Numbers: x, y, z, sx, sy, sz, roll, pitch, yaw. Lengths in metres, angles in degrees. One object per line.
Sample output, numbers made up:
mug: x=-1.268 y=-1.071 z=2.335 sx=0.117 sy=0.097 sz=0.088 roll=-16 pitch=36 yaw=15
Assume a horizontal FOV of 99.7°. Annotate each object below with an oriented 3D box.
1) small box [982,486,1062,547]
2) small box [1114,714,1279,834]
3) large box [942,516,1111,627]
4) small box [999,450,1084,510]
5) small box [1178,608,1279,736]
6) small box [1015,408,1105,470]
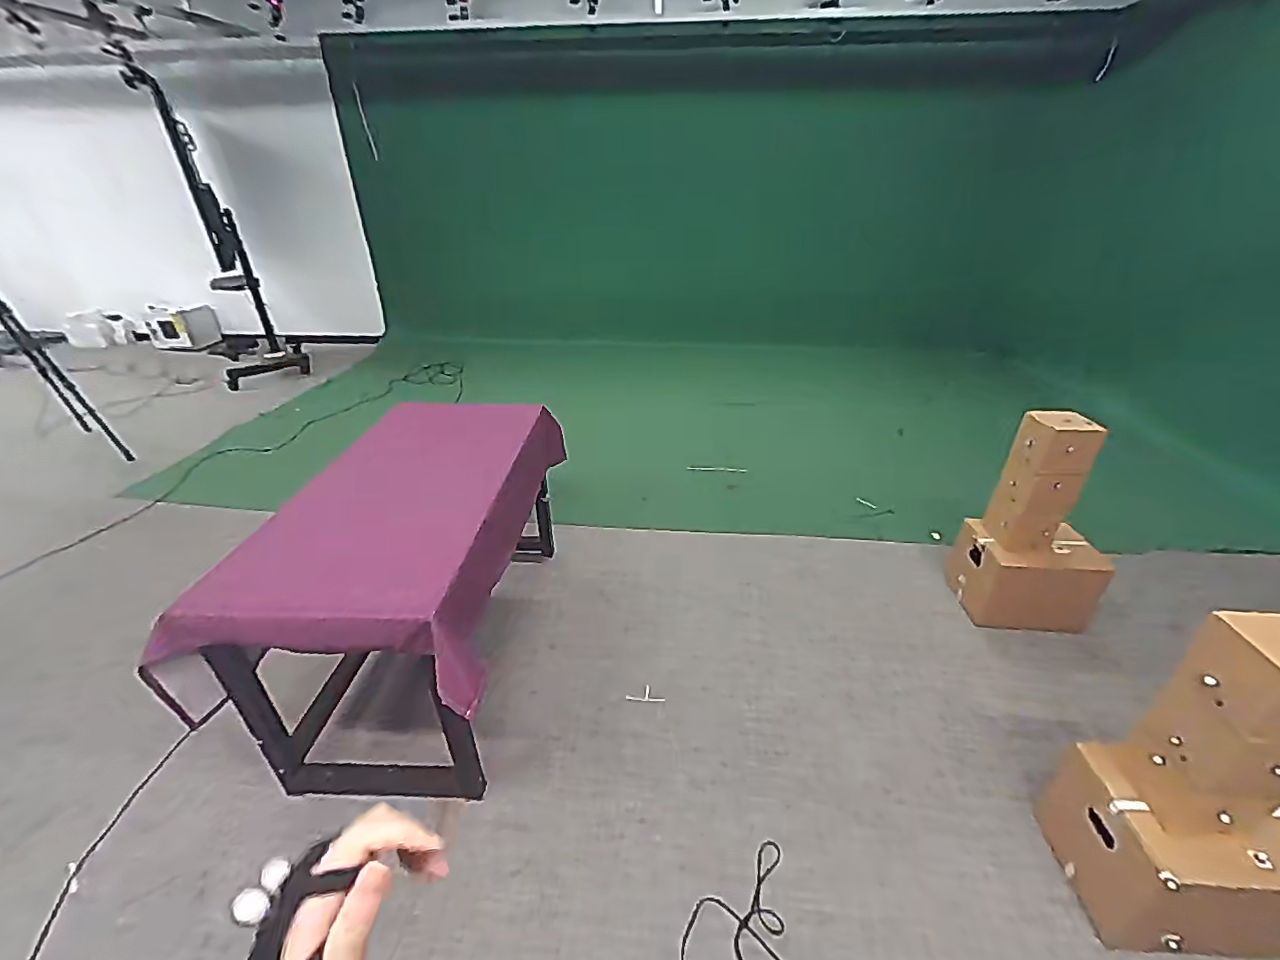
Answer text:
small box: x=1.443 y=0.140 z=2.054 sx=0.168 sy=0.176 sz=0.179 roll=2 pitch=29 yaw=2
small box: x=1.217 y=0.648 z=1.193 sx=0.168 sy=0.176 sz=0.179 roll=1 pitch=29 yaw=2
large box: x=1.511 y=0.362 z=2.158 sx=0.408 sy=0.320 sz=0.320 roll=3 pitch=31 yaw=3
small box: x=1.450 y=-0.001 z=1.971 sx=0.179 sy=0.176 sz=0.168 roll=0 pitch=31 yaw=-1
small box: x=1.202 y=0.365 z=1.025 sx=0.179 sy=0.176 sz=0.168 roll=1 pitch=29 yaw=6
small box: x=1.449 y=-0.143 z=1.886 sx=0.179 sy=0.176 sz=0.168 roll=0 pitch=30 yaw=1
